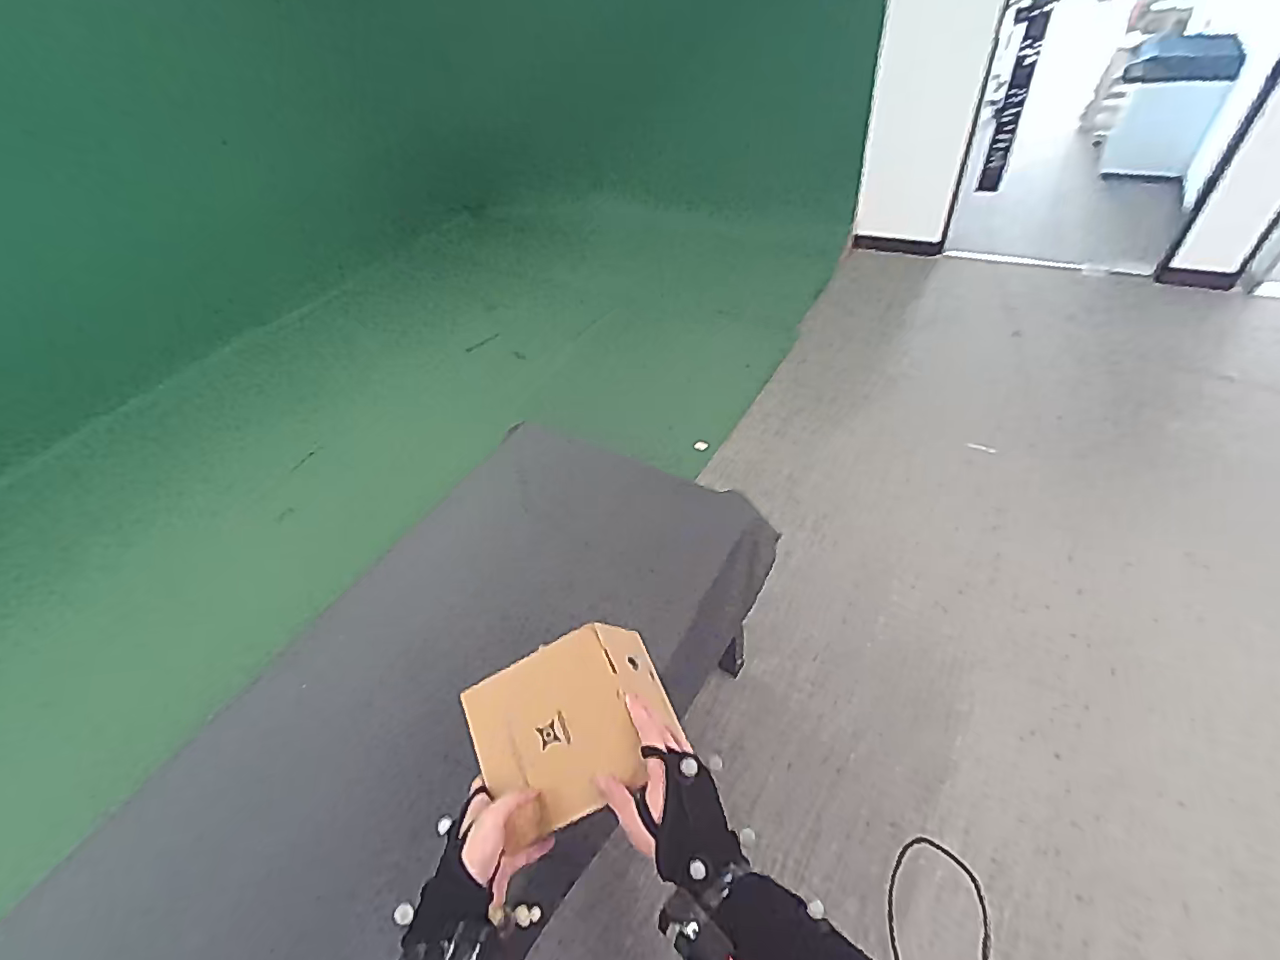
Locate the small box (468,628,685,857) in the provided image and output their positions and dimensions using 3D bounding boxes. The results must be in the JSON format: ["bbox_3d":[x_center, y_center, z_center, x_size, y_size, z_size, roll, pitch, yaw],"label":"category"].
[{"bbox_3d":[-0.061,0.289,0.617,0.179,0.176,0.168,-27,61,6],"label":"small box"}]
